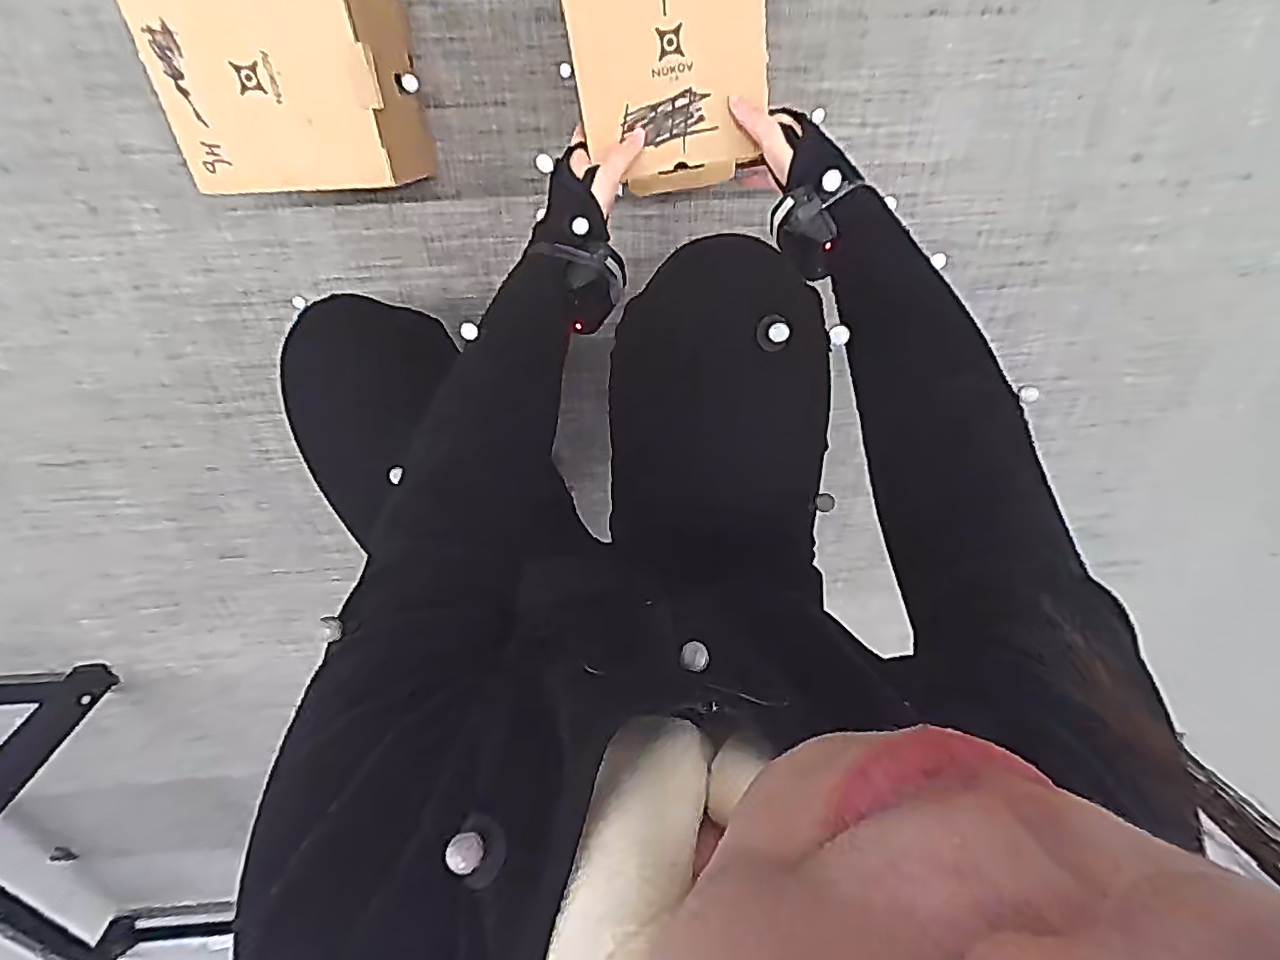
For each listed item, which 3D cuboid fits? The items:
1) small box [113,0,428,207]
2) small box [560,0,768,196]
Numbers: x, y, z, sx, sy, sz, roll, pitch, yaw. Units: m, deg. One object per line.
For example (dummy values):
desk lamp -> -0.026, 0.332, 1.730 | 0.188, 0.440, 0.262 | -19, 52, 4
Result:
small box -> -0.314, -0.360, 0.509 | 0.179, 0.176, 0.168 | -4, 123, -3
small box -> 0.021, -0.389, 0.516 | 0.168, 0.176, 0.179 | -10, 122, 2
